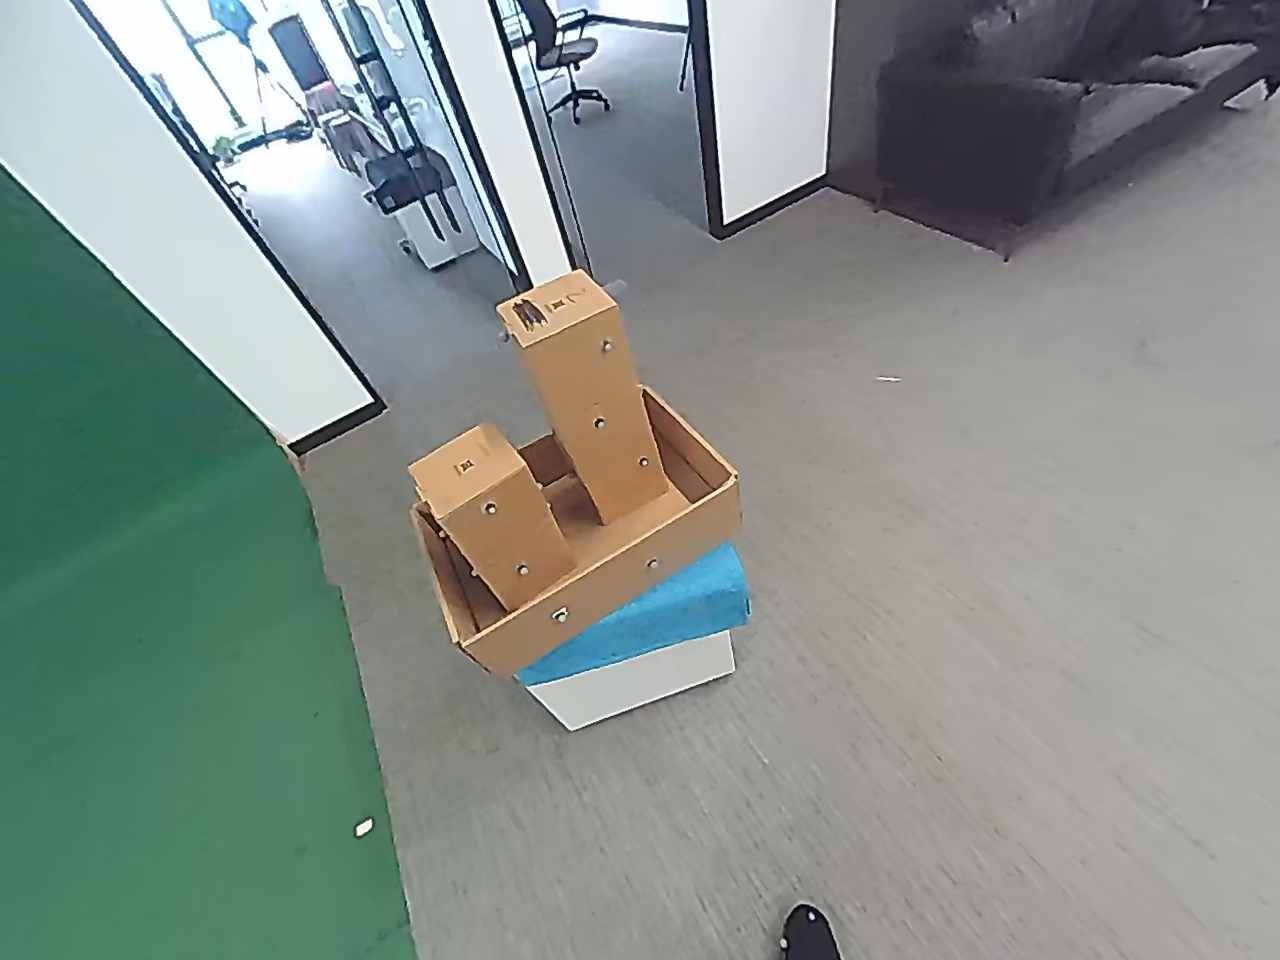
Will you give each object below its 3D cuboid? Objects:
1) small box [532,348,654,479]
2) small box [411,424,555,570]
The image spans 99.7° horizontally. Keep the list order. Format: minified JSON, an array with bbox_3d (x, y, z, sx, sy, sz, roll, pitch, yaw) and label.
[{"bbox_3d":[-0.092,-0.132,1.104,0.179,0.176,0.168,-27,49,-9],"label":"small box"},{"bbox_3d":[-0.288,0.035,1.012,0.179,0.176,0.168,-34,50,-15],"label":"small box"}]
